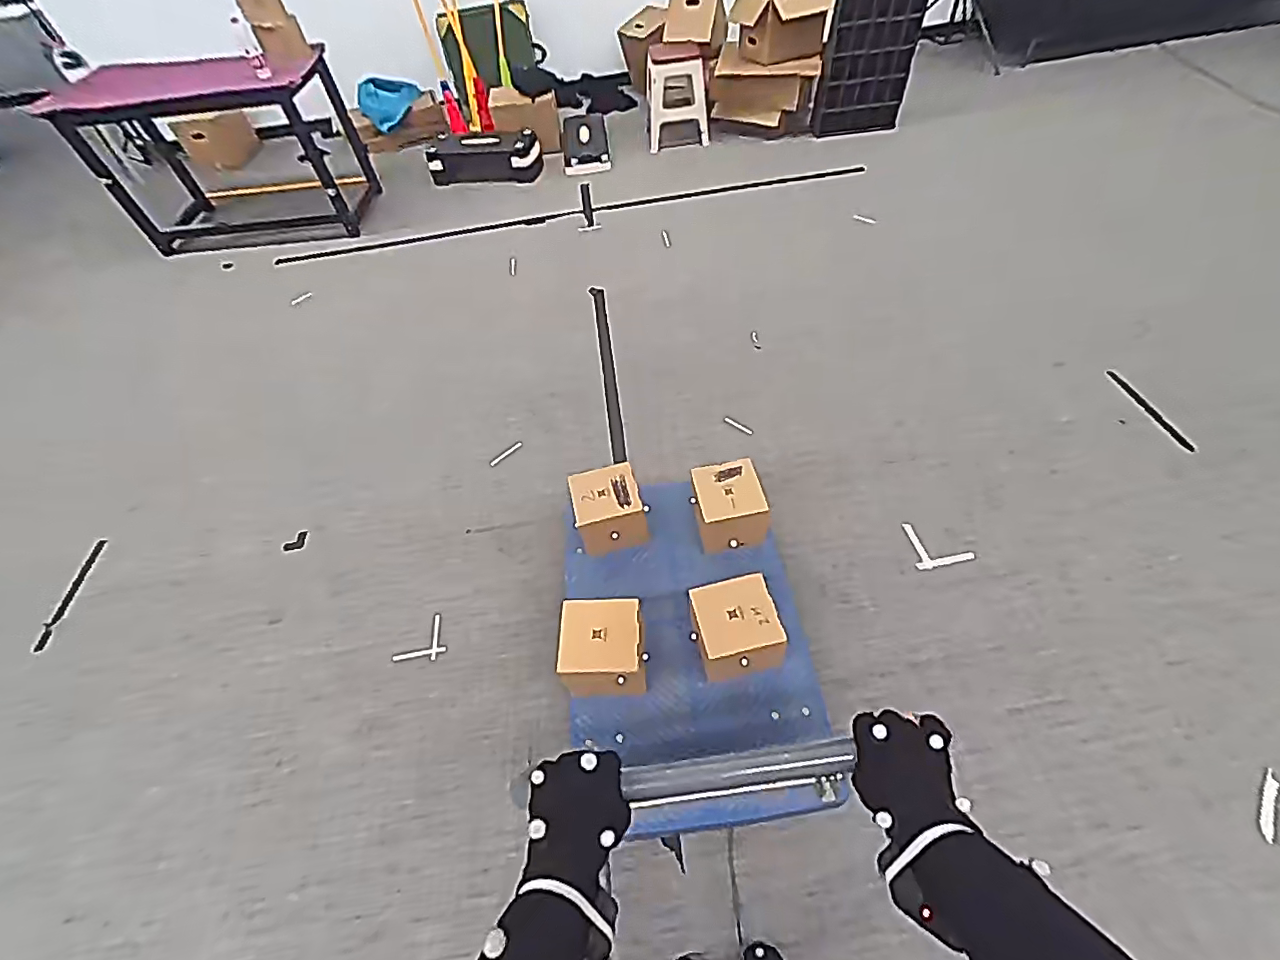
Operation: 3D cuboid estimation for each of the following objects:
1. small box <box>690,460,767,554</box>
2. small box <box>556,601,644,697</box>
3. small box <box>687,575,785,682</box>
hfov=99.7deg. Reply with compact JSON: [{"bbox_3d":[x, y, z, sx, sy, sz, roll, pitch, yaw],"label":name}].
[{"bbox_3d":[0.229,0.074,1.445,0.168,0.176,0.179,-11,53,-1],"label":"small box"},{"bbox_3d":[-0.085,0.392,1.243,0.179,0.176,0.168,-3,52,3],"label":"small box"},{"bbox_3d":[0.215,0.345,1.242,0.179,0.176,0.168,-13,53,-3],"label":"small box"}]
